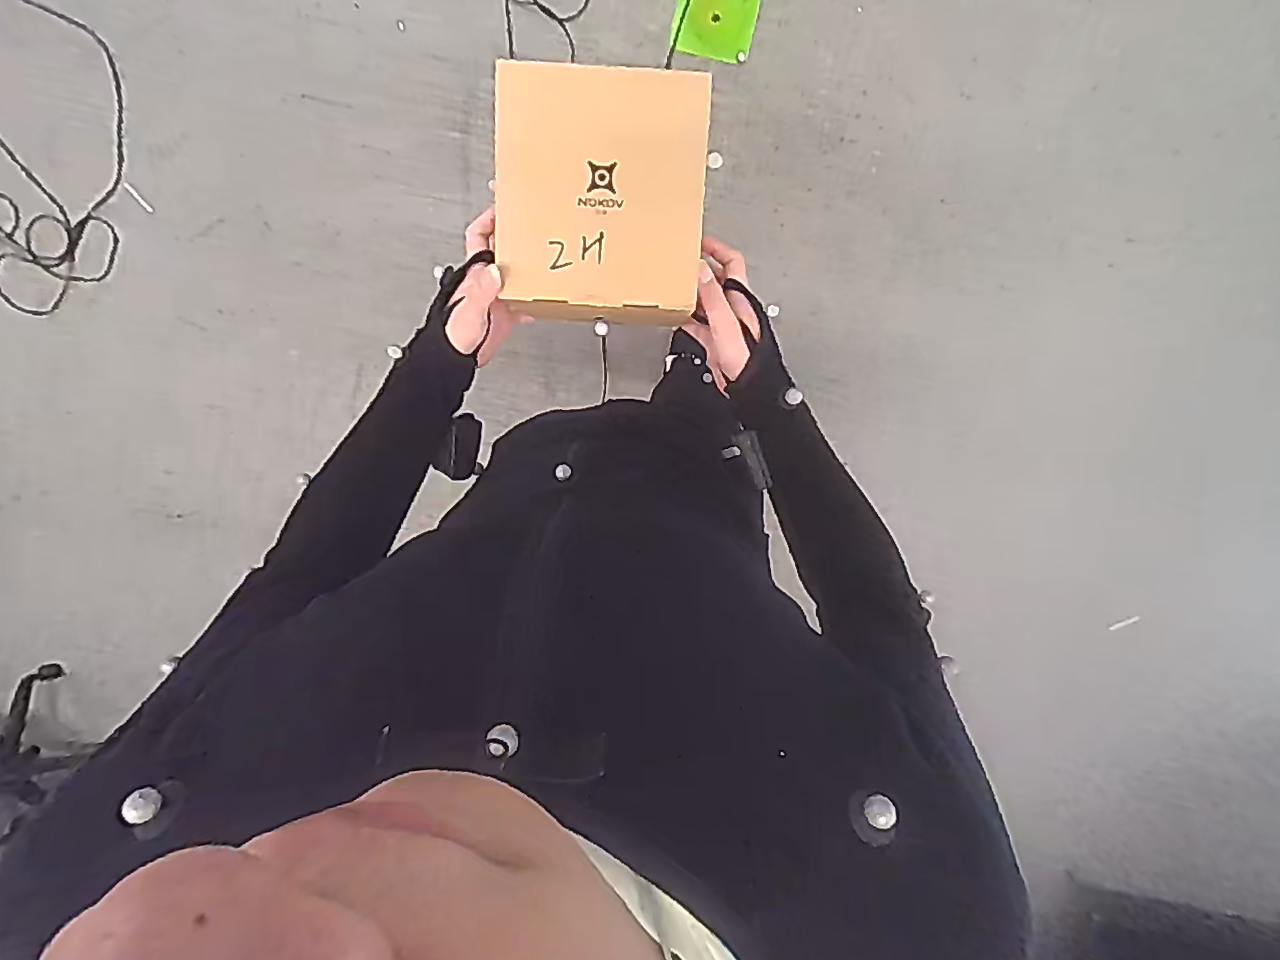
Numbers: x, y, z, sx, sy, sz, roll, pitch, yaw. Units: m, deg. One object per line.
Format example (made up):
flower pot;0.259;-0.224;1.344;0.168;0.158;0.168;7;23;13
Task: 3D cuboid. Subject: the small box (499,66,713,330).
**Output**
small box;-0.031;-0.244;0.512;0.168;0.176;0.179;3;101;-1

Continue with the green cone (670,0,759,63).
green cone;0.180;-1.114;1.163;0.202;0.368;0.200;12;104;-1
